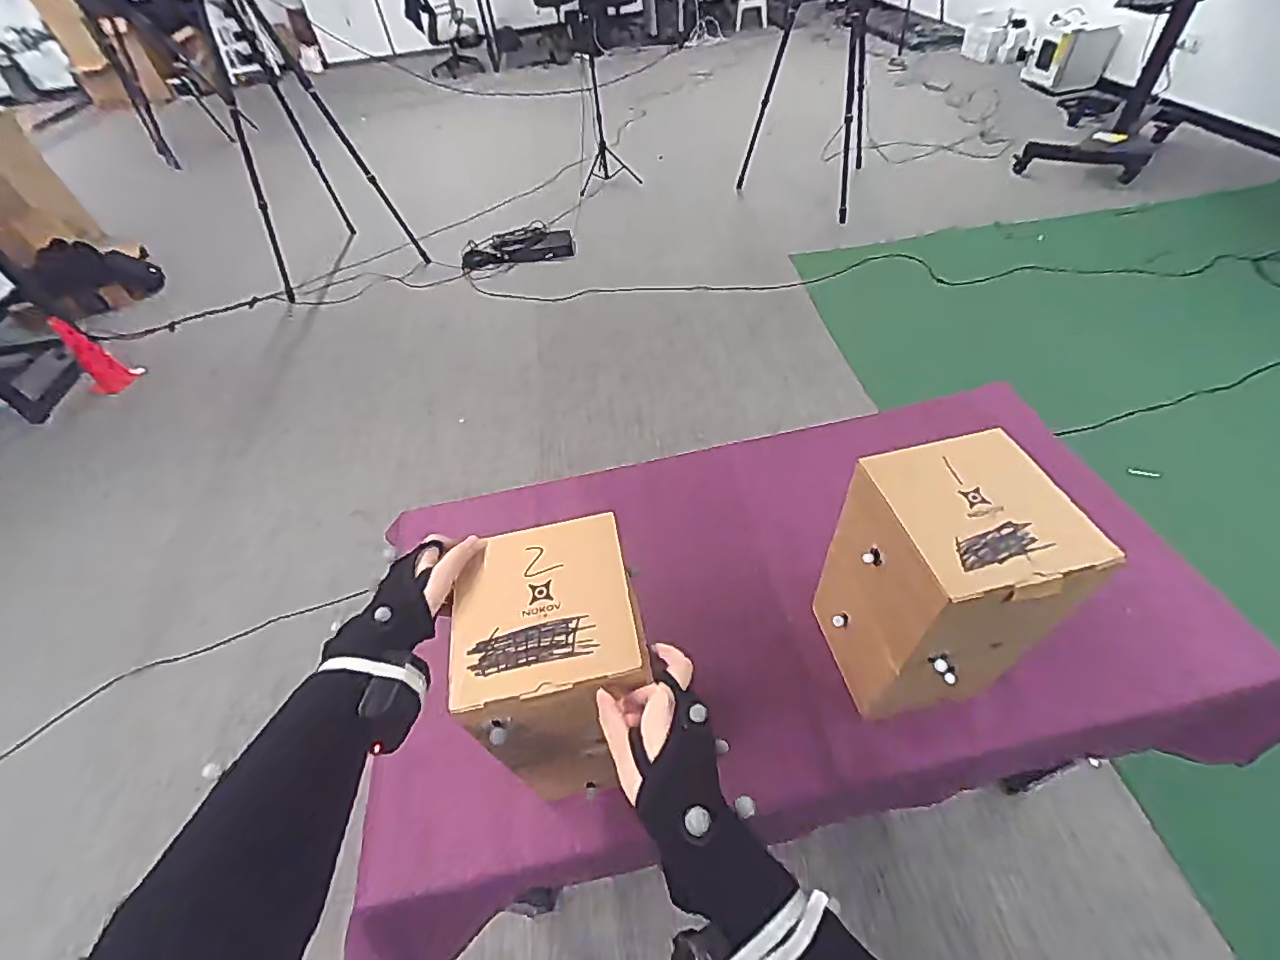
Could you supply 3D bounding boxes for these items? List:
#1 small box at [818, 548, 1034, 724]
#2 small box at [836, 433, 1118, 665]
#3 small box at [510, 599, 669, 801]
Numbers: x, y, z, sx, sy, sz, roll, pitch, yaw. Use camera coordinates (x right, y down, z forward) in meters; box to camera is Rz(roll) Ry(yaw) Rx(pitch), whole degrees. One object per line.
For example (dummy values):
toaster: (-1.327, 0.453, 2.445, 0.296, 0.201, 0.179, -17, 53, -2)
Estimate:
small box: (0.349, 0.190, 0.706, 0.168, 0.176, 0.179, -12, 48, -2)
small box: (0.333, 0.081, 0.583, 0.168, 0.176, 0.179, -12, 48, -3)
small box: (-0.062, 0.279, 0.684, 0.168, 0.176, 0.179, -11, 49, -2)
